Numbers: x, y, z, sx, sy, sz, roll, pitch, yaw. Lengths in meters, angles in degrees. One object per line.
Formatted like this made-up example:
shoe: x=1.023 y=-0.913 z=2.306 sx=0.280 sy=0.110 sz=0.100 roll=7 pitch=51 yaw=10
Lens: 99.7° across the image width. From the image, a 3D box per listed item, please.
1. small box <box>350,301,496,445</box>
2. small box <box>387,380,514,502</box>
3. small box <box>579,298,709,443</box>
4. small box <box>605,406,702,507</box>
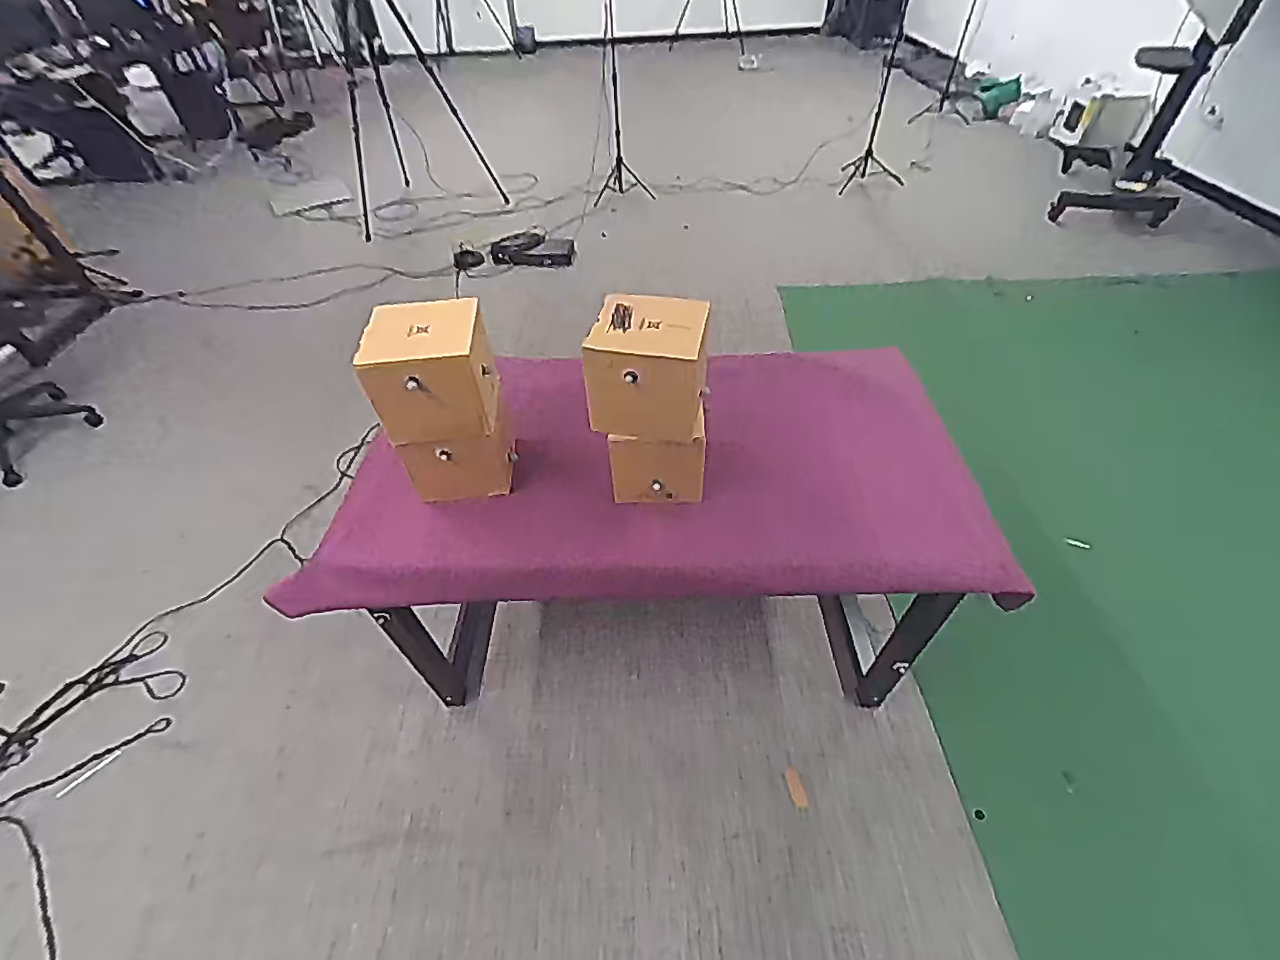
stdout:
small box: x=-0.349 y=-0.178 z=0.912 sx=0.179 sy=0.176 sz=0.168 roll=-6 pitch=48 yaw=-3
small box: x=-0.350 y=-0.072 z=1.034 sx=0.179 sy=0.176 sz=0.168 roll=-4 pitch=48 yaw=-2
small box: x=0.012 y=-0.179 z=0.894 sx=0.179 sy=0.176 sz=0.168 roll=8 pitch=48 yaw=9
small box: x=0.027 y=-0.069 z=1.016 sx=0.168 sy=0.176 sz=0.179 roll=0 pitch=47 yaw=3
